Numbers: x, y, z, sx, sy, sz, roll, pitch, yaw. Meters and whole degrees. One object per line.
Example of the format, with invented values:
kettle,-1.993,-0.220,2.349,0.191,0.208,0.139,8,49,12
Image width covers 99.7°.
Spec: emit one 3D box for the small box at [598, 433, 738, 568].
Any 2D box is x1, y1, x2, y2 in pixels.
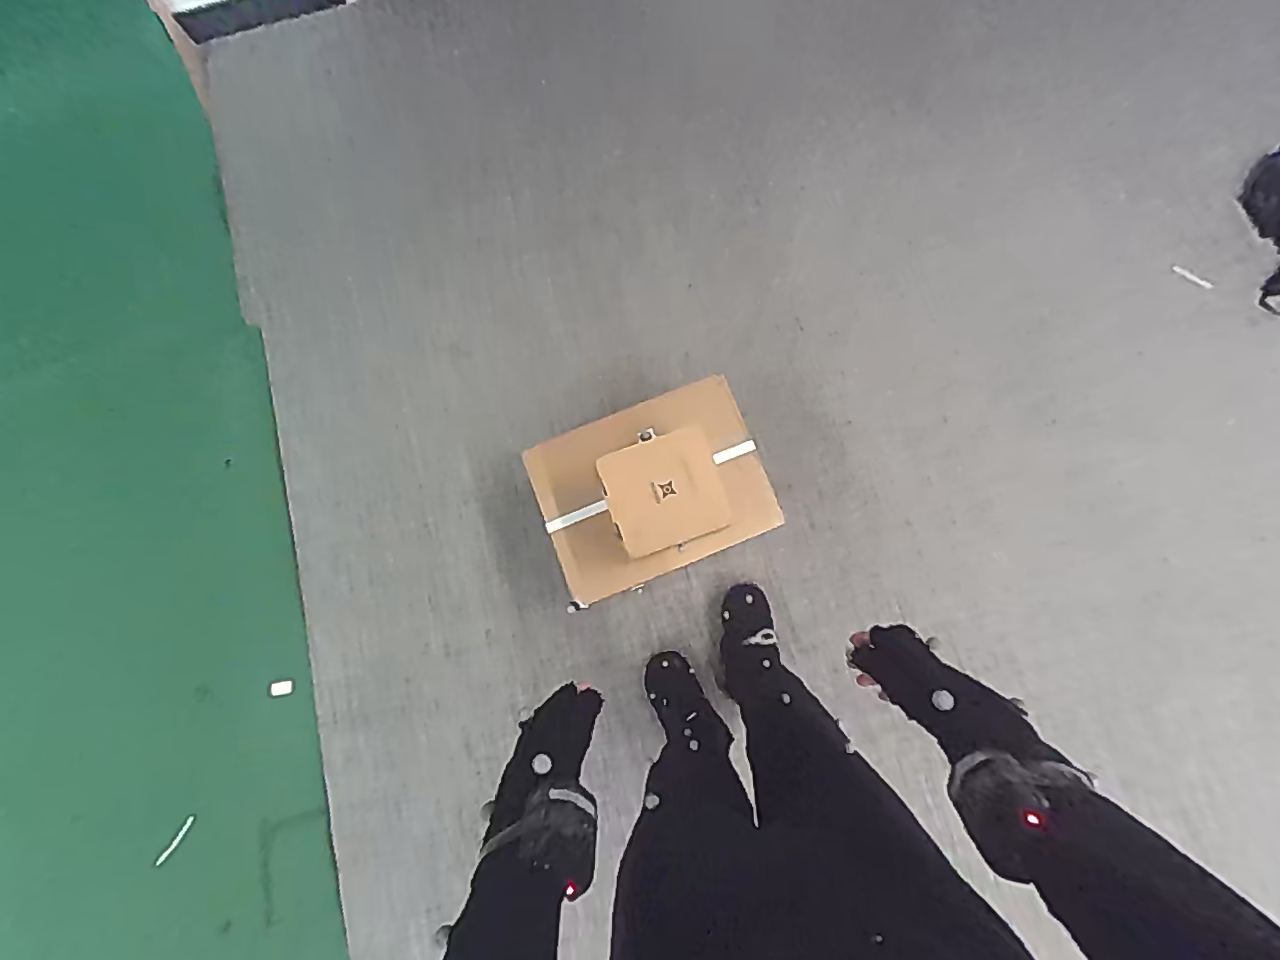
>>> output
small box,0.044,0.044,0.905,0.179,0.176,0.168,-20,81,-3
